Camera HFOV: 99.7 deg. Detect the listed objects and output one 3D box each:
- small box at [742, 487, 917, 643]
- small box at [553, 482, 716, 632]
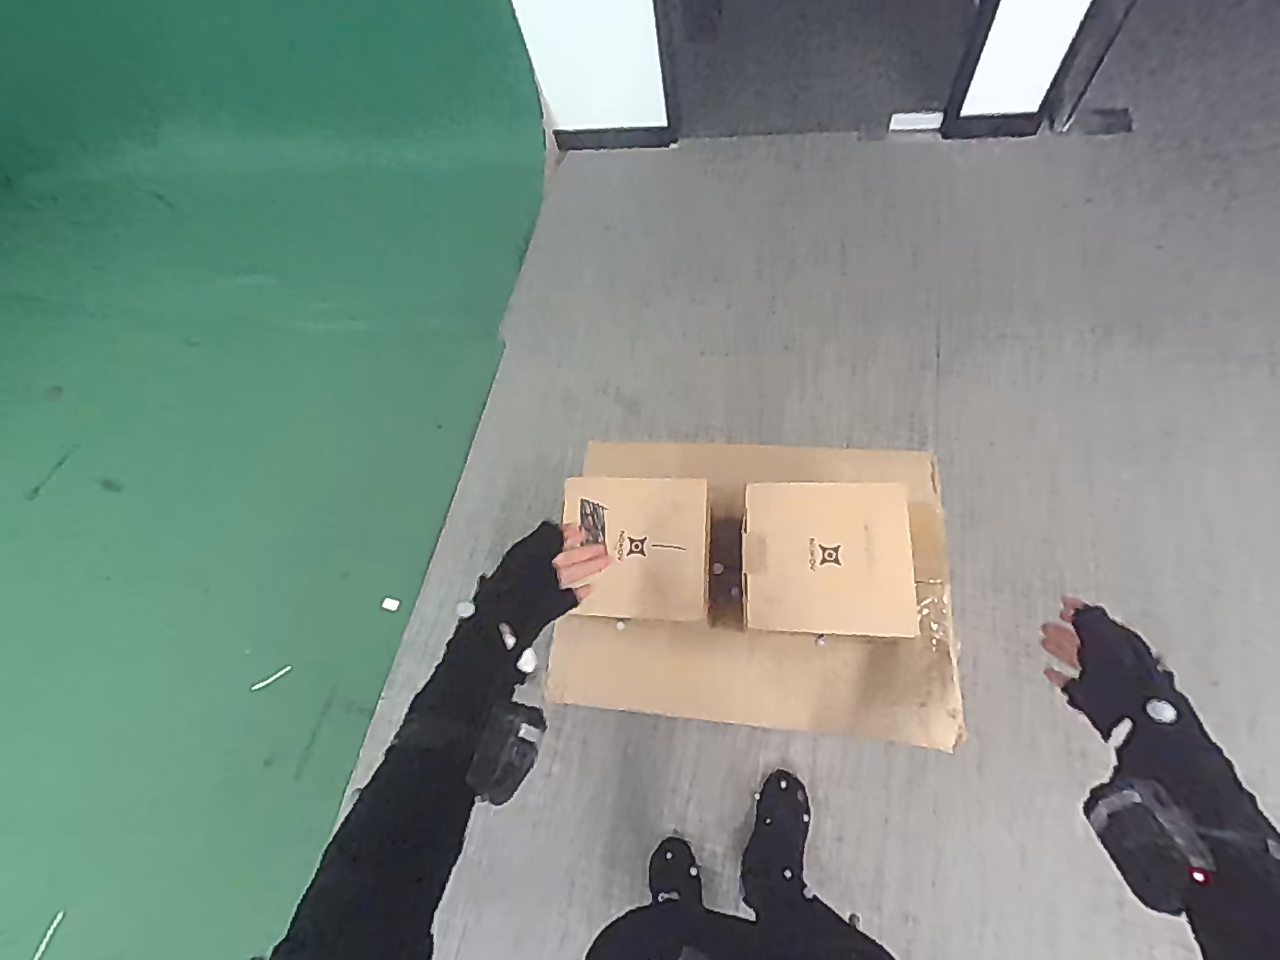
[{"bbox_3d":[0.215,0.110,0.665,0.179,0.176,0.168,0,73,9],"label":"small box"},{"bbox_3d":[0.004,0.106,0.703,0.179,0.176,0.168,1,73,10],"label":"small box"}]
